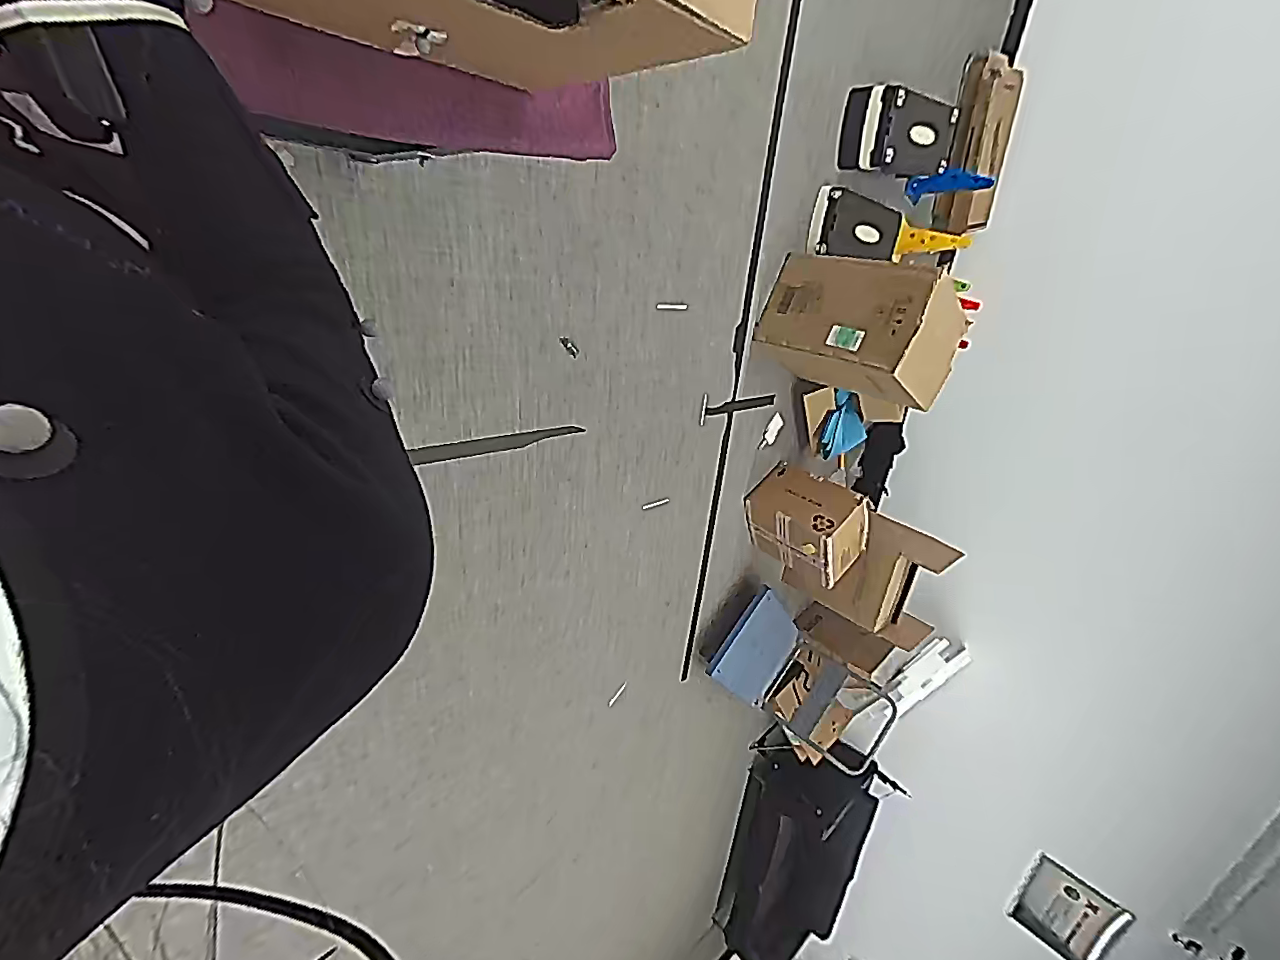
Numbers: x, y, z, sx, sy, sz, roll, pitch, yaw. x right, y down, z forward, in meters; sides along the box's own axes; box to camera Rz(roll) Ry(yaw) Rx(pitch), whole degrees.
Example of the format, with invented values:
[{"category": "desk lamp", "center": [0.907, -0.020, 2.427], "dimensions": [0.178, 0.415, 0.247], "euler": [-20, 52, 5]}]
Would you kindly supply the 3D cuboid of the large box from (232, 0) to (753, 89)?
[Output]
[{"category": "large box", "center": [-0.113, -0.548, 0.355], "dimensions": [0.320, 0.320, 0.408], "euler": [-17, 121, -42]}]
